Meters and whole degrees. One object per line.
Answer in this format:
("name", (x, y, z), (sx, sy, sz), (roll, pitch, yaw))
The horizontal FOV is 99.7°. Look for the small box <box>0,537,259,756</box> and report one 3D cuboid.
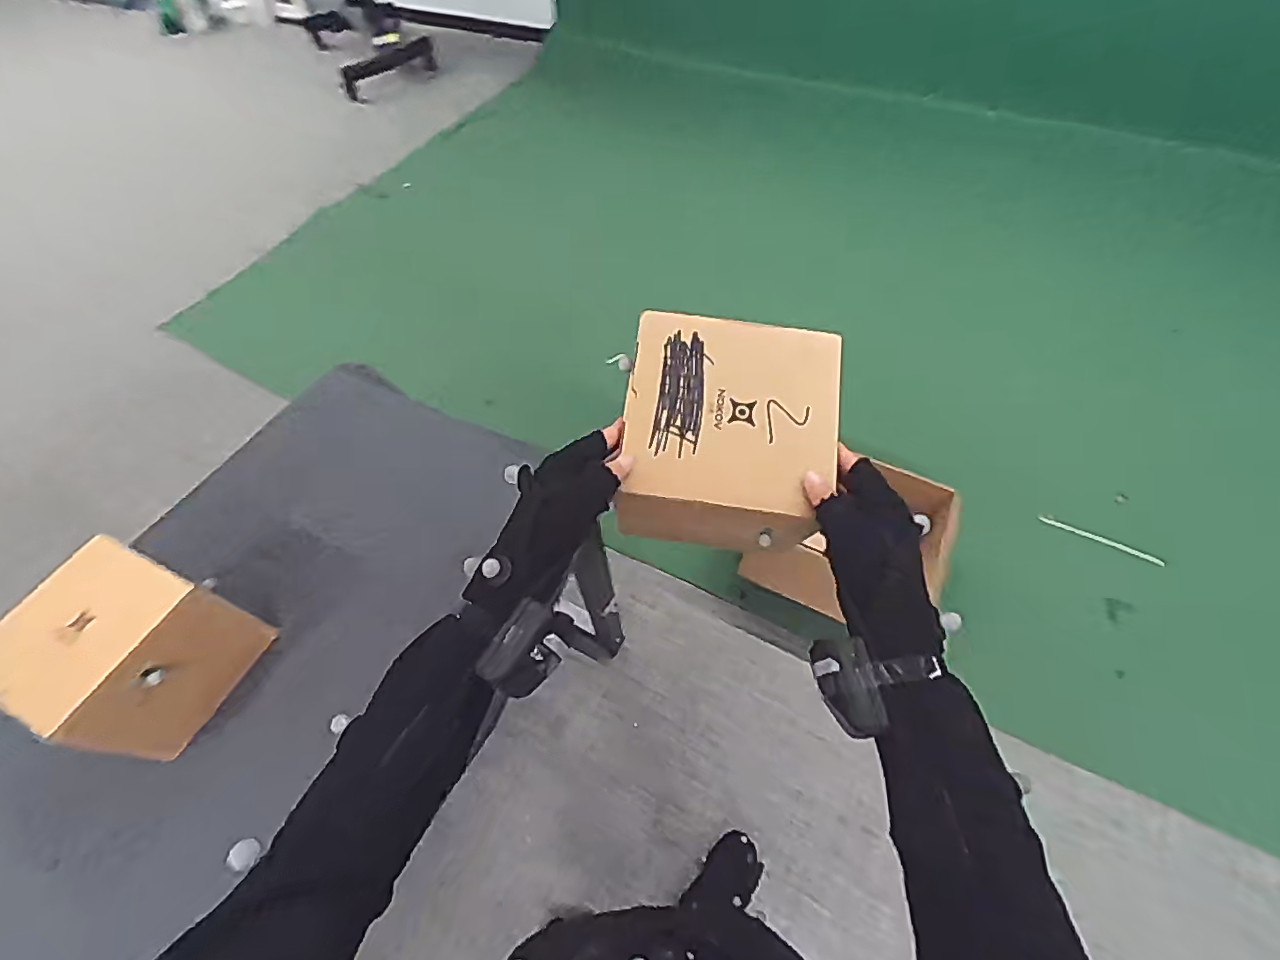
("small box", (-0.609, 0.204, 0.649), (0.168, 0.176, 0.179), (21, 61, 15))
